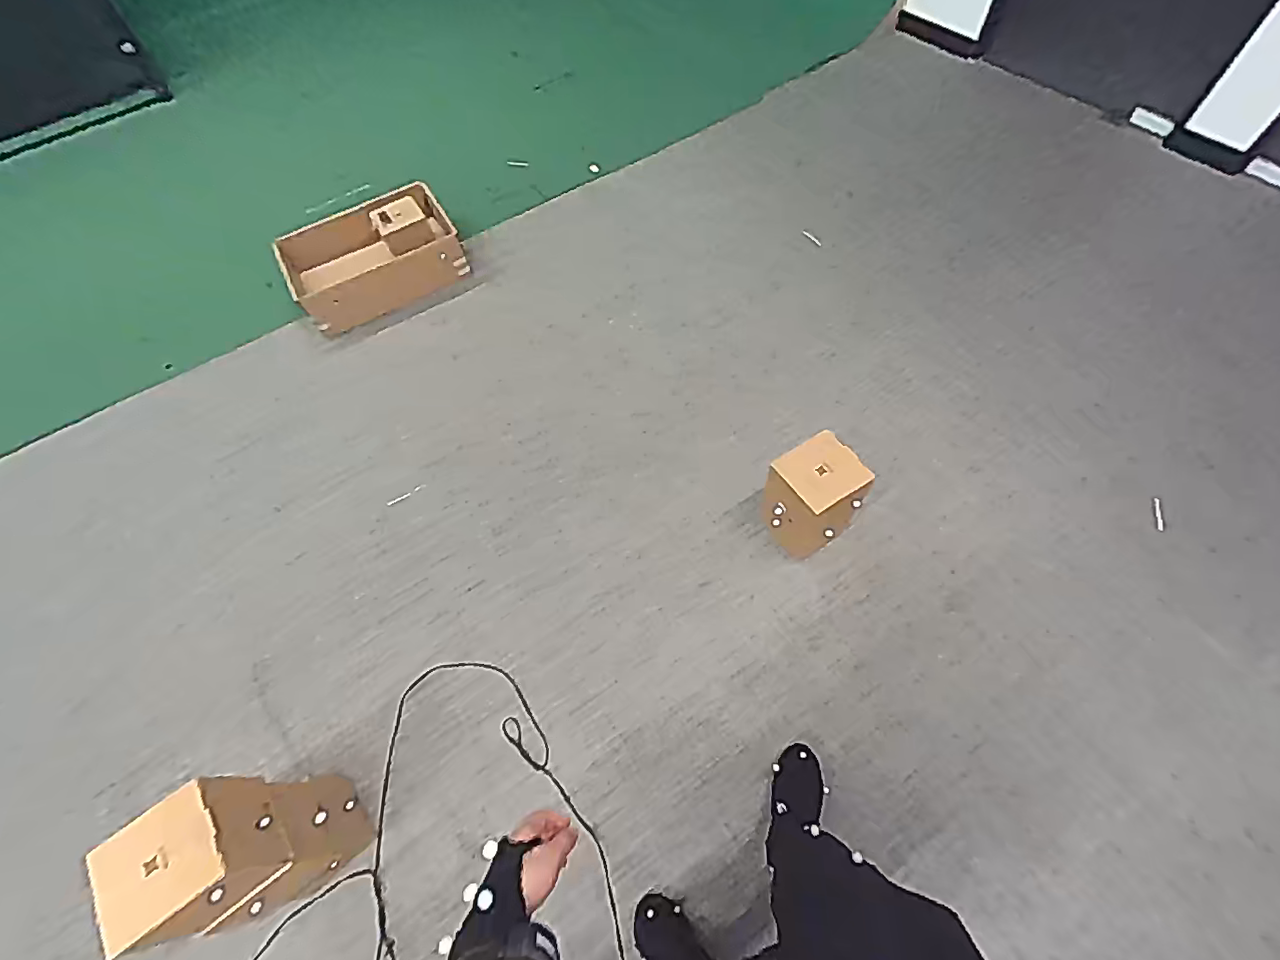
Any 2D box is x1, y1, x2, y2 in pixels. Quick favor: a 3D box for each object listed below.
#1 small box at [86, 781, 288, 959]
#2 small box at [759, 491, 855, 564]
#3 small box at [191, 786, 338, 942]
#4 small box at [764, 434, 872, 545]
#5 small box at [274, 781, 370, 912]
[{"bbox_3d":[-0.736,0.631,0.893,0.179,0.176,0.168,-36,64,-16],"label":"small box"},{"bbox_3d":[0.440,0.098,1.465,0.168,0.176,0.179,-31,62,-12],"label":"small box"},{"bbox_3d":[-0.723,0.718,1.030,0.179,0.176,0.168,-35,64,-15],"label":"small box"},{"bbox_3d":[0.422,0.027,1.319,0.179,0.176,0.168,-31,61,-11],"label":"small box"},{"bbox_3d":[-0.724,0.788,1.179,0.179,0.176,0.168,-39,64,-15],"label":"small box"}]
